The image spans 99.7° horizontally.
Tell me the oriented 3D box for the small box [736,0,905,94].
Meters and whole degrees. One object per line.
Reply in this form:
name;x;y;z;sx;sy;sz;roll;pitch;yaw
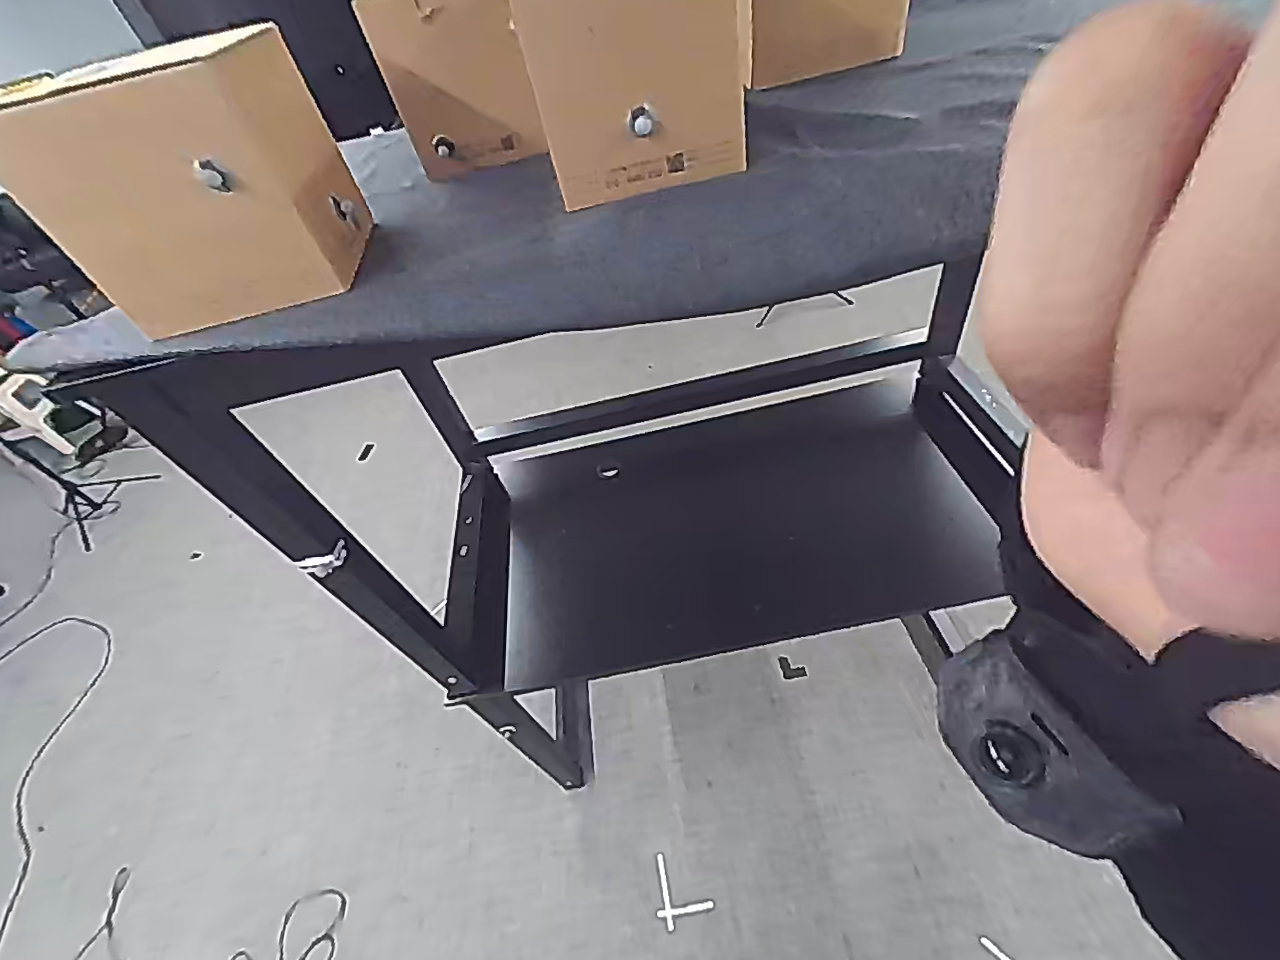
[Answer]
small box;0.199;-0.583;0.627;0.179;0.176;0.168;-11;47;6

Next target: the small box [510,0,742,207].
small box;-0.008;-0.371;0.484;0.168;0.176;0.179;-11;46;6
